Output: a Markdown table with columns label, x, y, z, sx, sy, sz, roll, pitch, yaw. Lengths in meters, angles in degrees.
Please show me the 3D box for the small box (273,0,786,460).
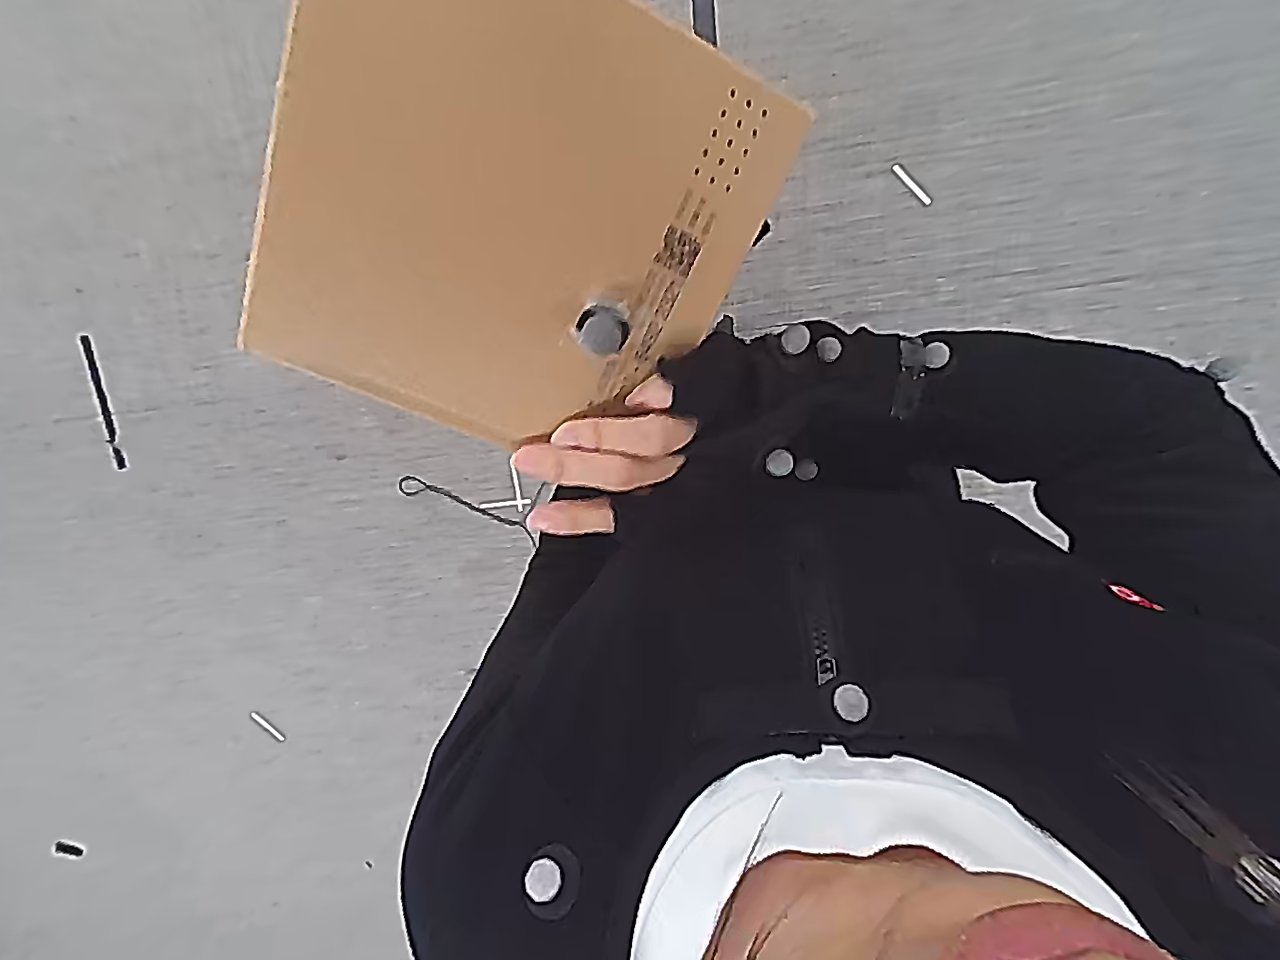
| label | x | y | z | sx | sy | sz | roll | pitch | yaw |
| --- | --- | --- | --- | --- | --- | --- | --- | --- | --- |
| small box | -0.050 | -0.134 | 0.291 | 0.176 | 0.179 | 0.168 | 22 | 115 | -13 |
